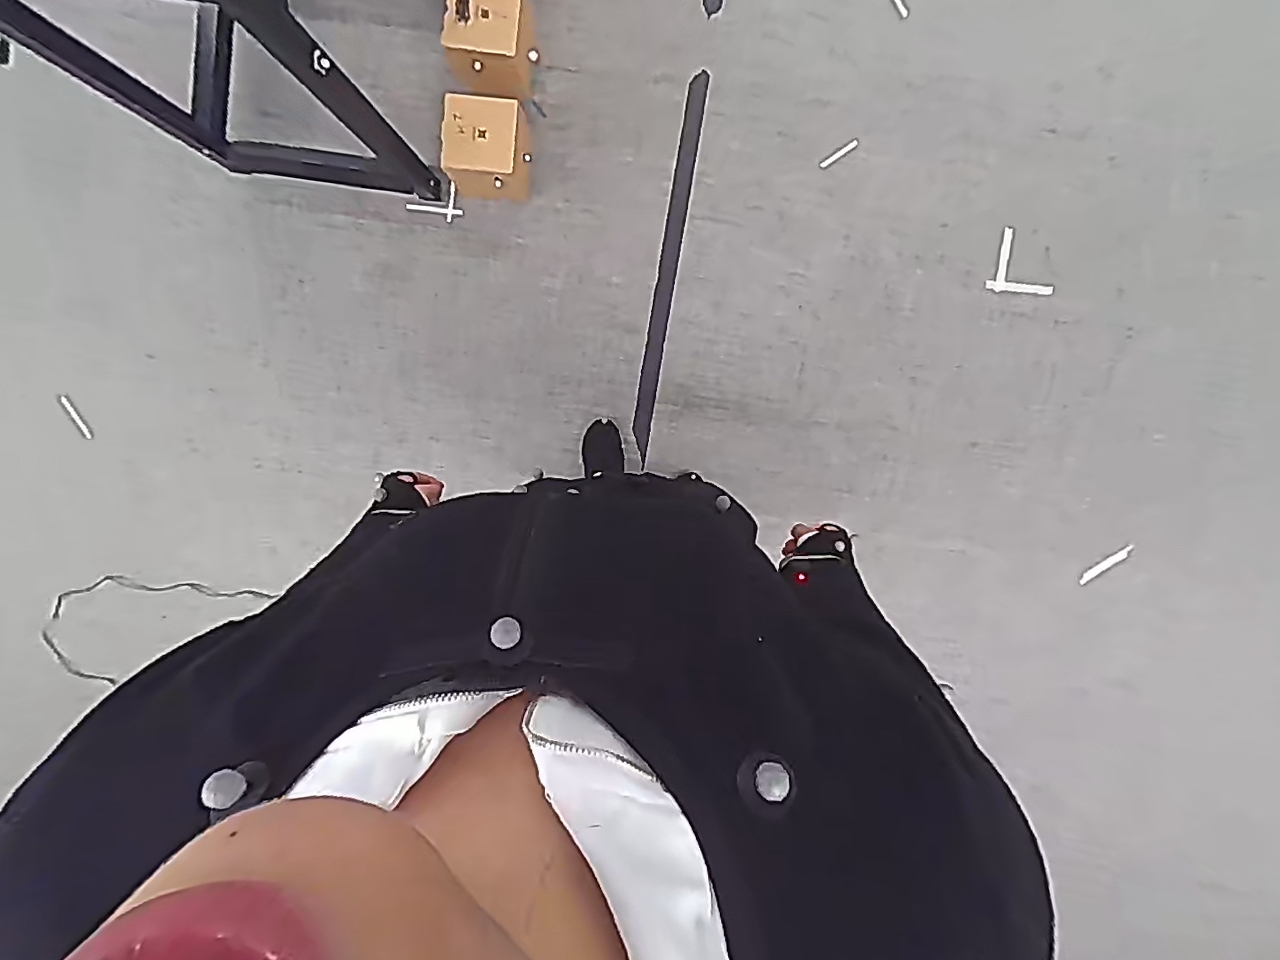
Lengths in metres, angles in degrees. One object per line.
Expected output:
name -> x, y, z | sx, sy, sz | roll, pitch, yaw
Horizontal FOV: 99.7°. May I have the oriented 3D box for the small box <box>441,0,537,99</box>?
small box -> -0.364, -1.075, 1.325 | 0.179, 0.176, 0.168 | 8, 96, 0
